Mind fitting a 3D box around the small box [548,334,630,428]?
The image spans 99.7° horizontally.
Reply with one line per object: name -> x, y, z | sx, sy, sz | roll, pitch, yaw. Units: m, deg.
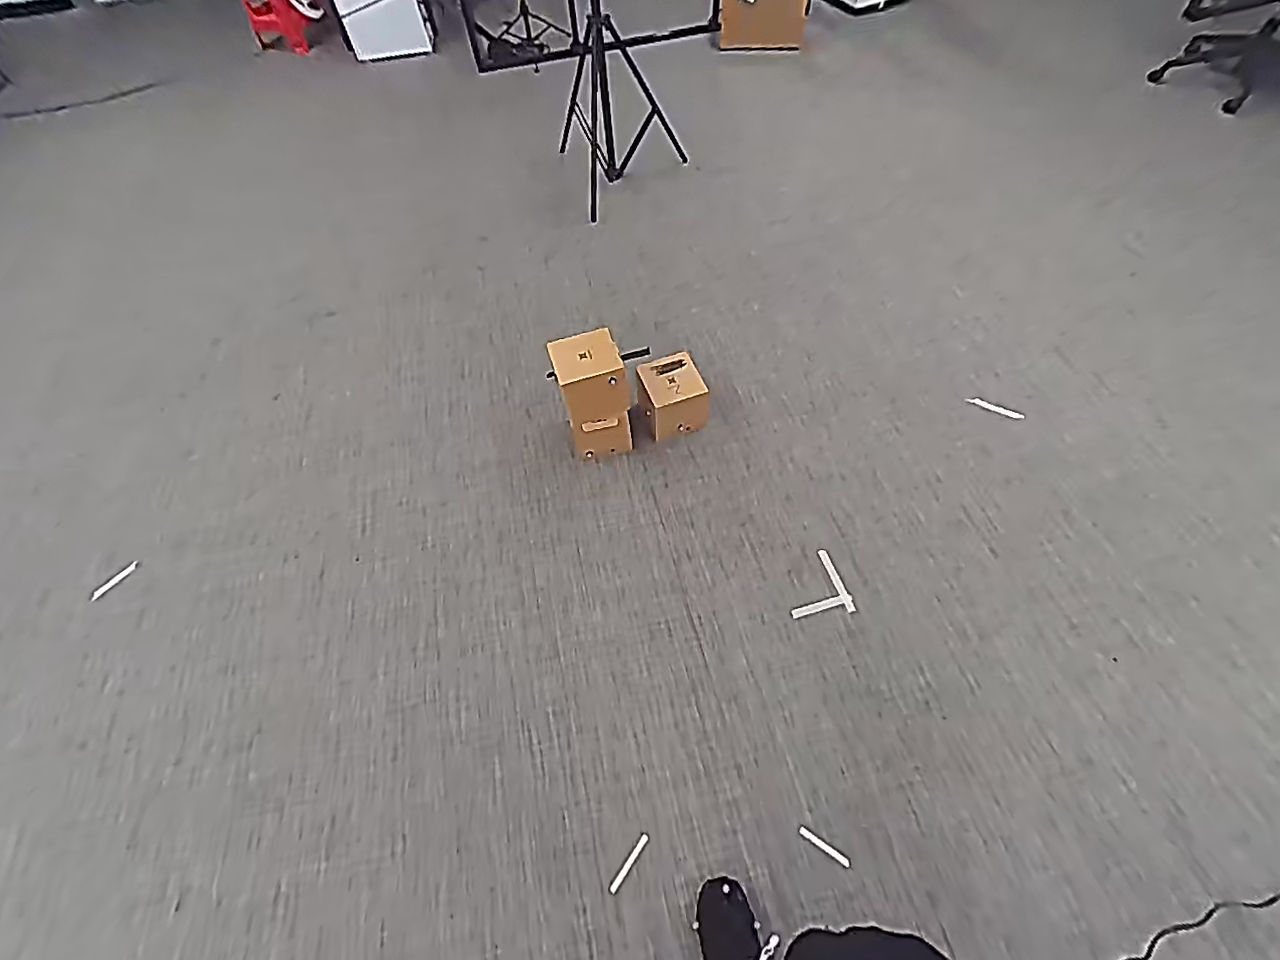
small box -> -0.137, -0.267, 1.490 | 0.179, 0.176, 0.168 | -18, 58, -7

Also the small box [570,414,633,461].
small box -> -0.120, -0.173, 1.622 | 0.168, 0.176, 0.179 | -12, 57, -3
